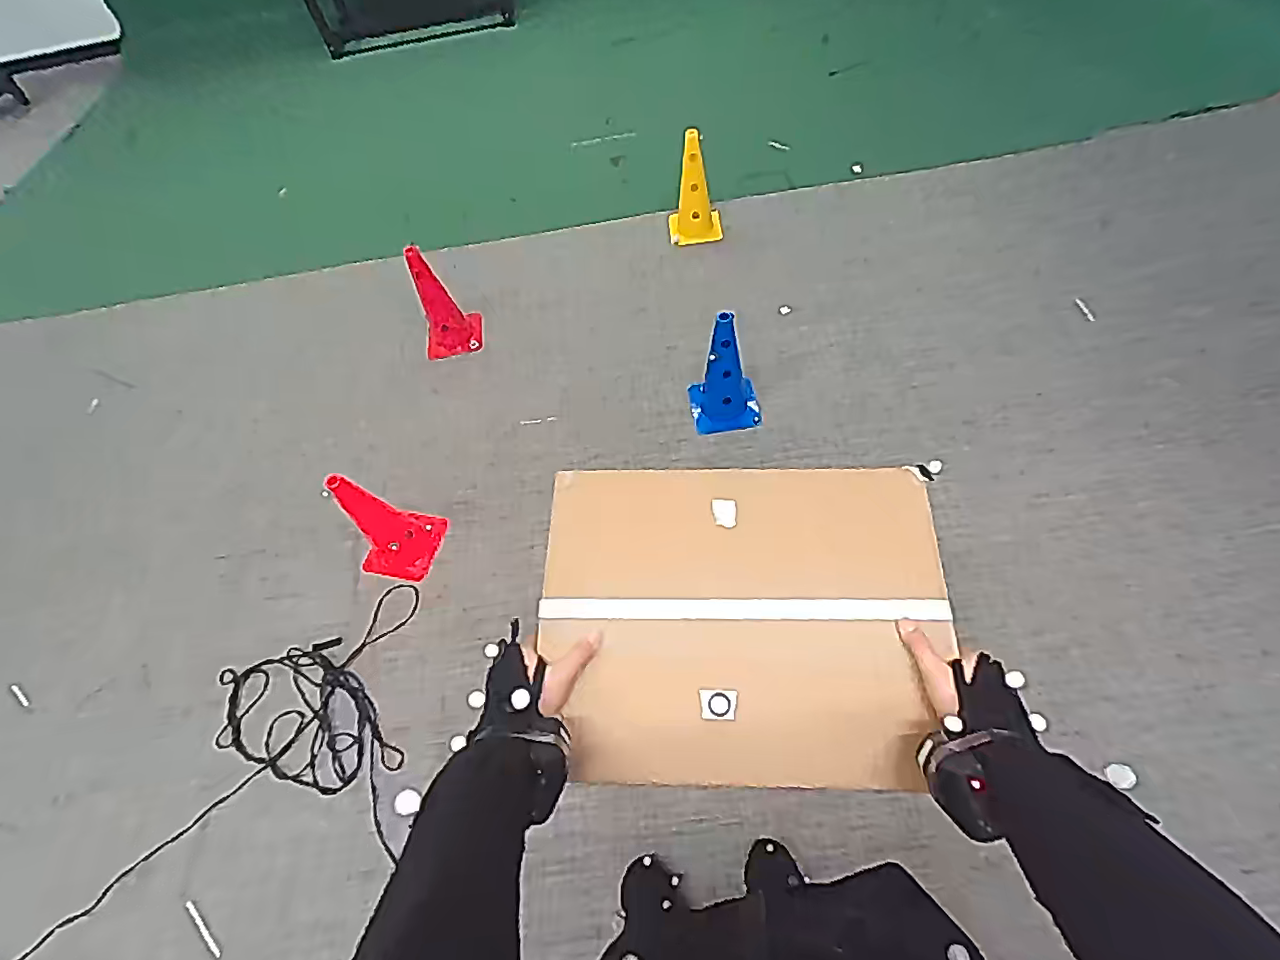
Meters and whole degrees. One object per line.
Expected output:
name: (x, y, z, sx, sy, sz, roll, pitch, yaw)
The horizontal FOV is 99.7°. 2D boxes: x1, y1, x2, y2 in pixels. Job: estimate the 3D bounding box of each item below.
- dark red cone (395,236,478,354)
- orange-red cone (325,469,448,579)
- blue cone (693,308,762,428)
dark red cone: (-0.704, -0.632, 1.822, 0.202, 0.394, 0.201, -15, 54, 0)
orange-red cone: (-0.688, 0.086, 1.395, 0.199, 0.360, 0.198, 8, 59, 15)
blue cone: (0.244, -0.328, 1.525, 0.192, 0.380, 0.193, -8, 58, 4)
